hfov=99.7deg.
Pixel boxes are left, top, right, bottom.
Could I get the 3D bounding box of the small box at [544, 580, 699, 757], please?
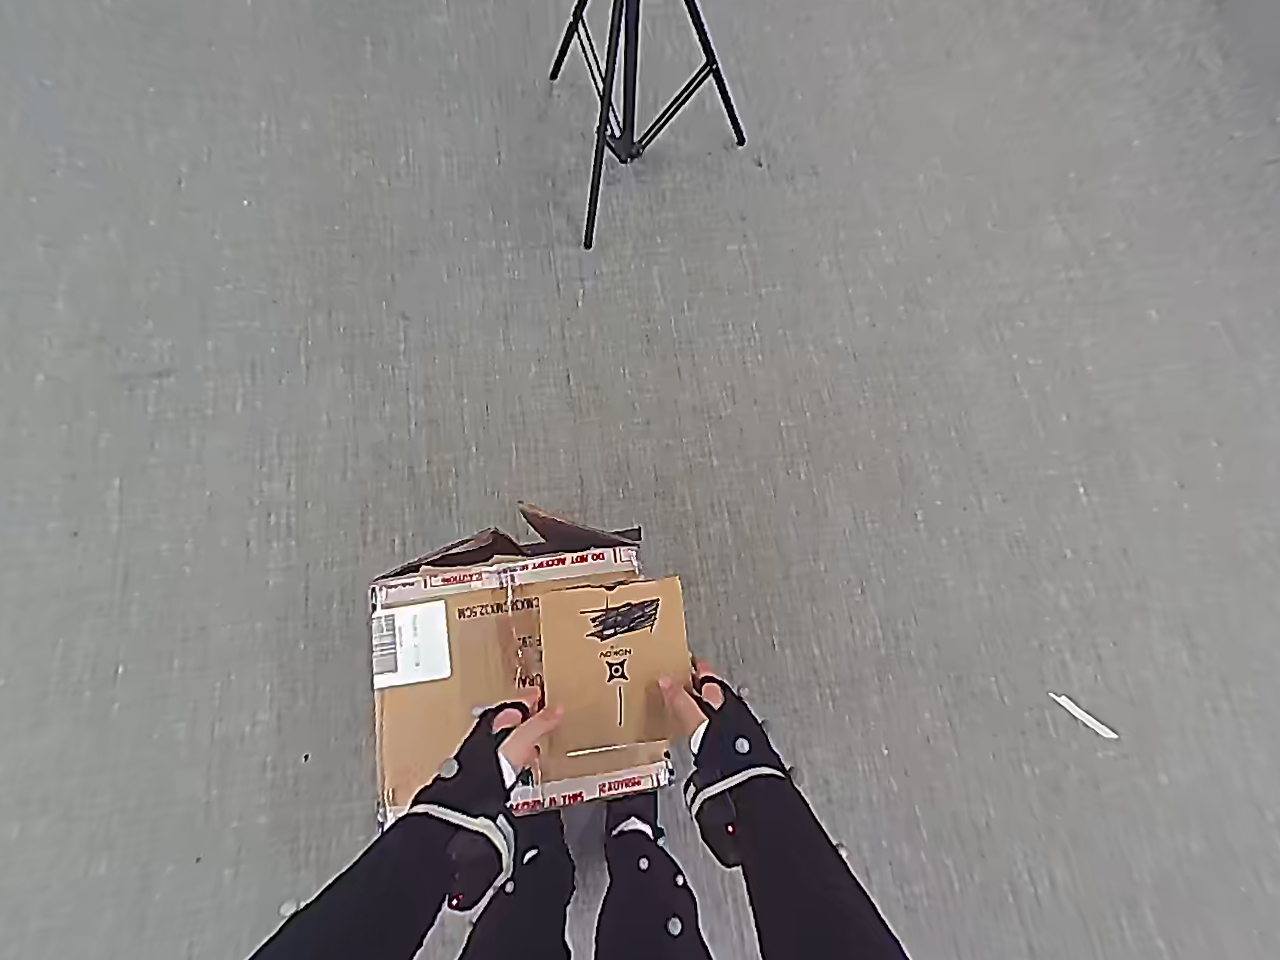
[{"bbox_3d":[-0.031,0.225,0.679,0.168,0.176,0.179,-5,78,-7],"label":"small box"}]
